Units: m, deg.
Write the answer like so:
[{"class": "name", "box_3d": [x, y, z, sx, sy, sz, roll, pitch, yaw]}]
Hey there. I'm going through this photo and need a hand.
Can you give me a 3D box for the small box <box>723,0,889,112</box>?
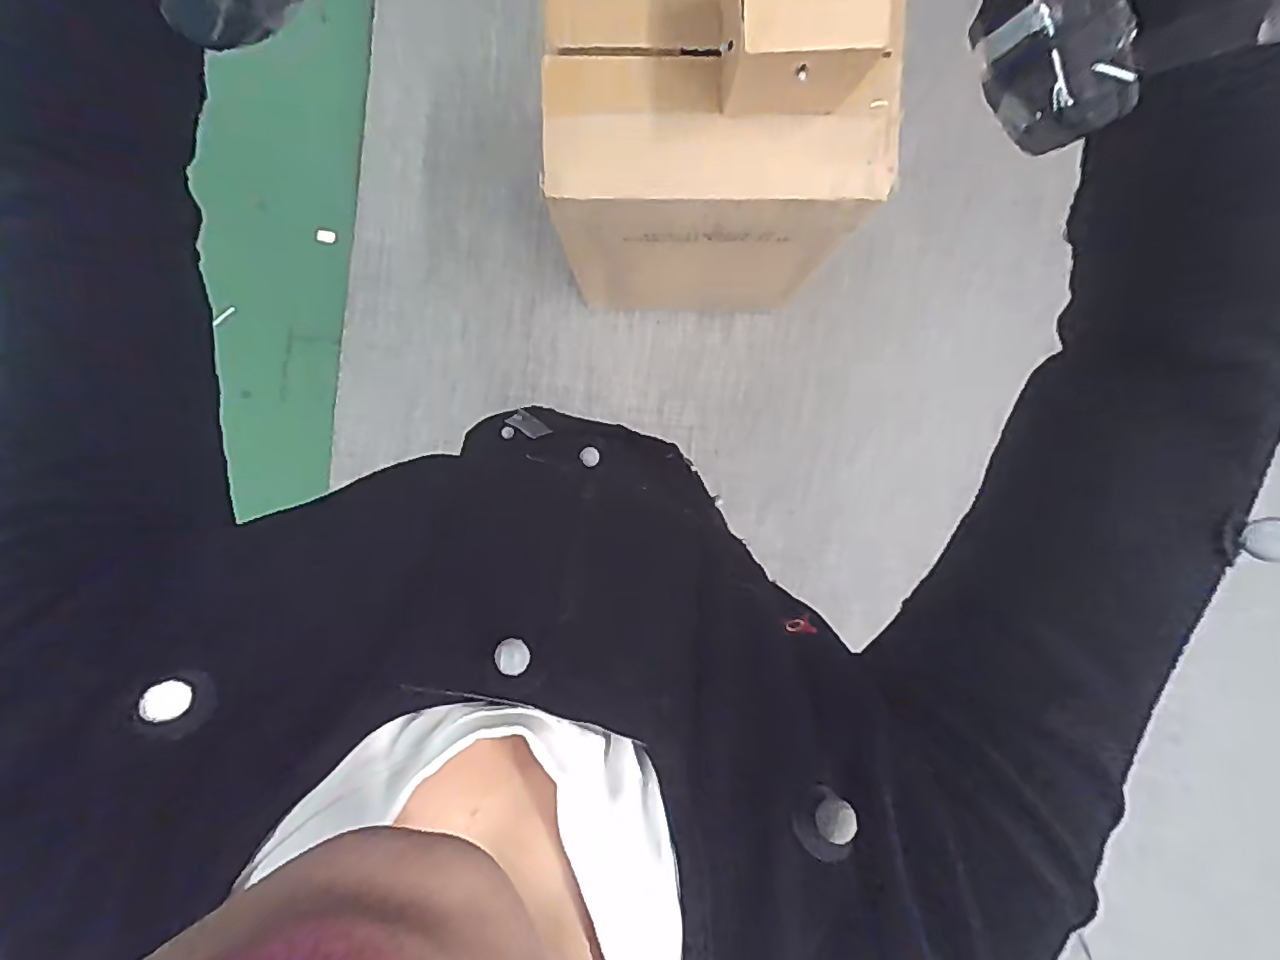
[{"class": "small box", "box_3d": [0.206, -0.609, 0.708, 0.179, 0.176, 0.168, -2, 102, 0]}]
